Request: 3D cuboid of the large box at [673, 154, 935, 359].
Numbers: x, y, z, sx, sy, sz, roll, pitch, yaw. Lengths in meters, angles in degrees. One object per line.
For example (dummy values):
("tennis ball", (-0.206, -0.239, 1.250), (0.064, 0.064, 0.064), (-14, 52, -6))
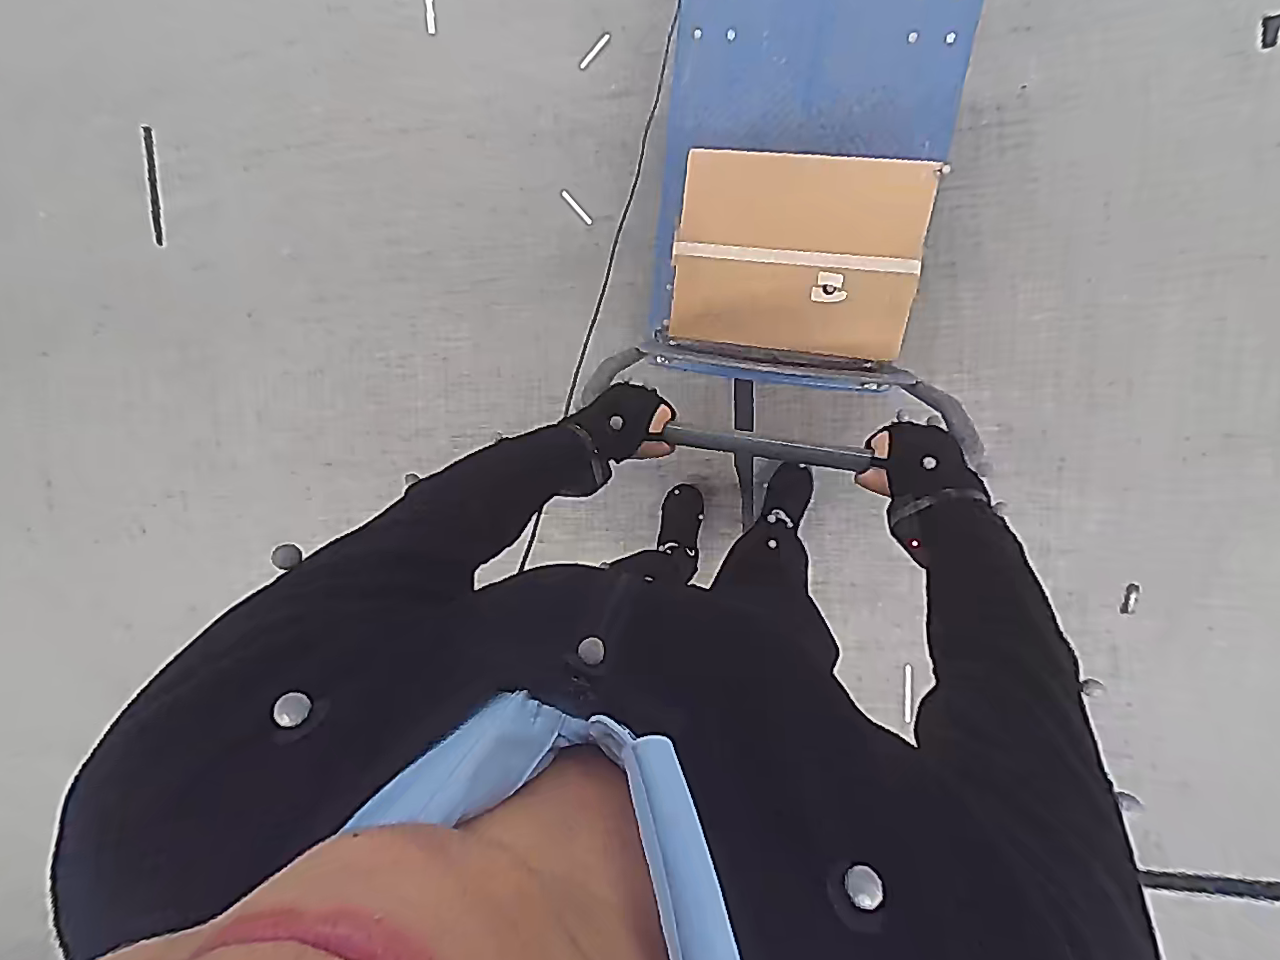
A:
("large box", (0.294, -0.424, 1.080), (0.408, 0.320, 0.320), (9, 108, 9))
